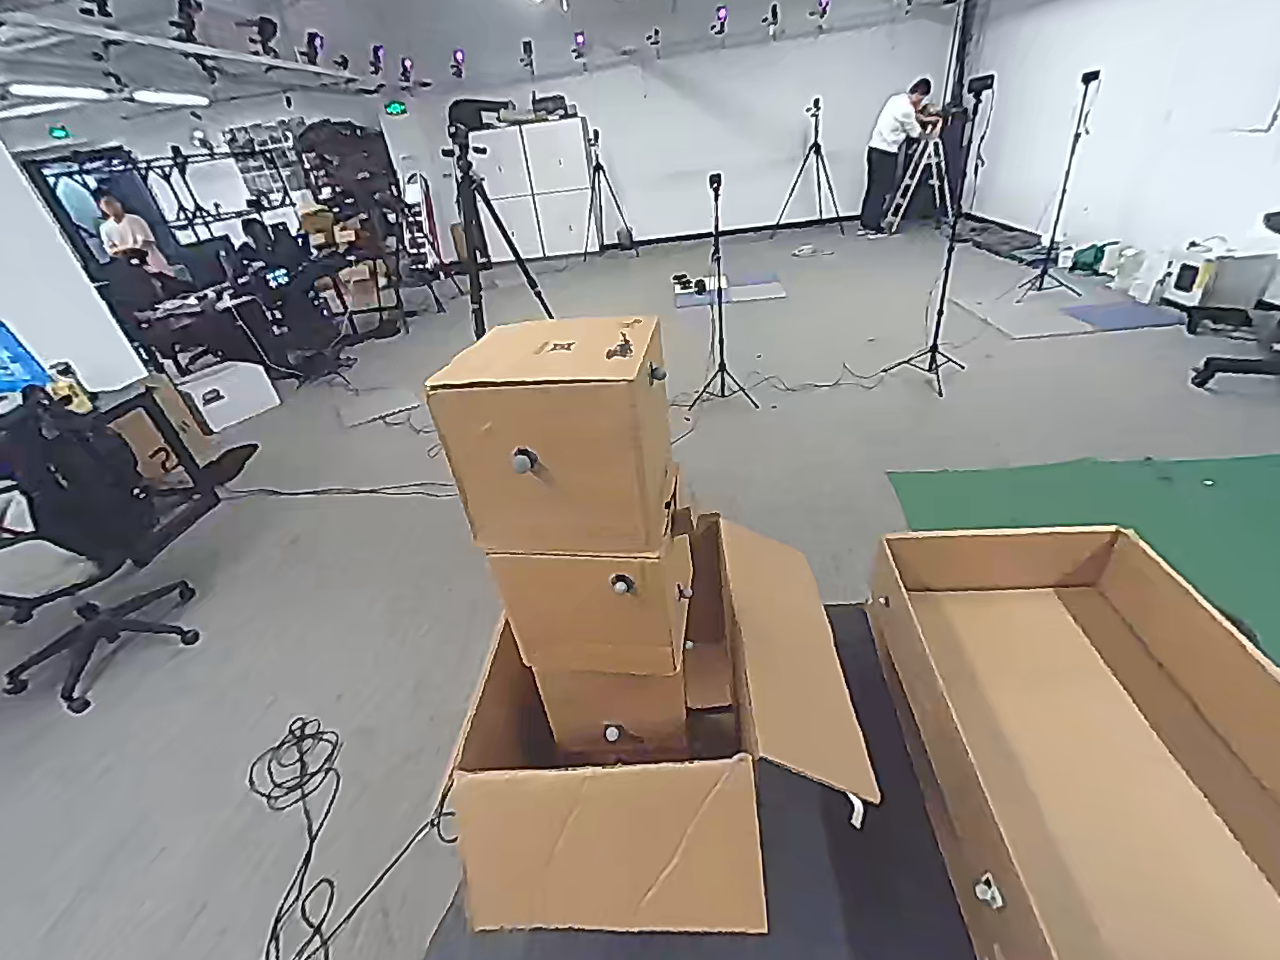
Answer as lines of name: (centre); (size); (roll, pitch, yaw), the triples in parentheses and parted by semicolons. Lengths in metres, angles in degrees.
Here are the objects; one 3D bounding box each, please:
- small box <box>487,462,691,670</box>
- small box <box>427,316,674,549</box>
small box: (-0.041, 0.093, 0.608); (0.179, 0.176, 0.168); (0, 34, 11)
small box: (-0.066, -0.047, 0.524); (0.179, 0.176, 0.168); (-1, 34, 10)
